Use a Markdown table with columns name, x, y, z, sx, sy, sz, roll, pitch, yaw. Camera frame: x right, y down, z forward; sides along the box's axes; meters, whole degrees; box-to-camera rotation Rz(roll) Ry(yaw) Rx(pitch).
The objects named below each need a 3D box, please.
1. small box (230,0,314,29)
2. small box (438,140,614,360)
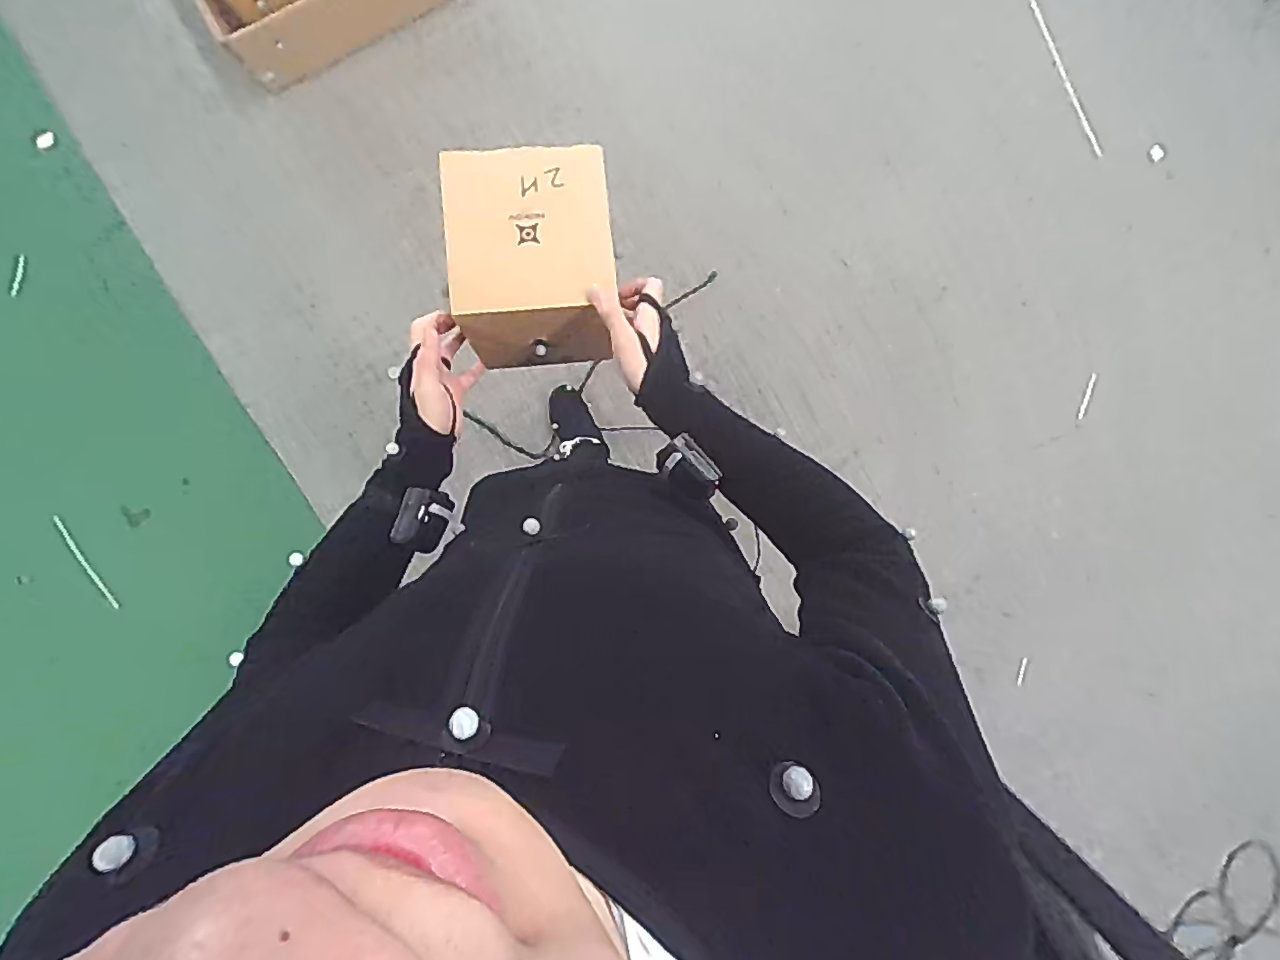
| name | x | y | z | sx | sy | sz | roll | pitch | yaw |
| --- | --- | --- | --- | --- | --- | --- | --- | --- | --- |
| small box | -0.942 | -1.254 | 1.313 | 0.168 | 0.176 | 0.179 | -27 | 95 | 1 |
| small box | -0.118 | -0.243 | 0.612 | 0.168 | 0.176 | 0.179 | -5 | 84 | -5 |
